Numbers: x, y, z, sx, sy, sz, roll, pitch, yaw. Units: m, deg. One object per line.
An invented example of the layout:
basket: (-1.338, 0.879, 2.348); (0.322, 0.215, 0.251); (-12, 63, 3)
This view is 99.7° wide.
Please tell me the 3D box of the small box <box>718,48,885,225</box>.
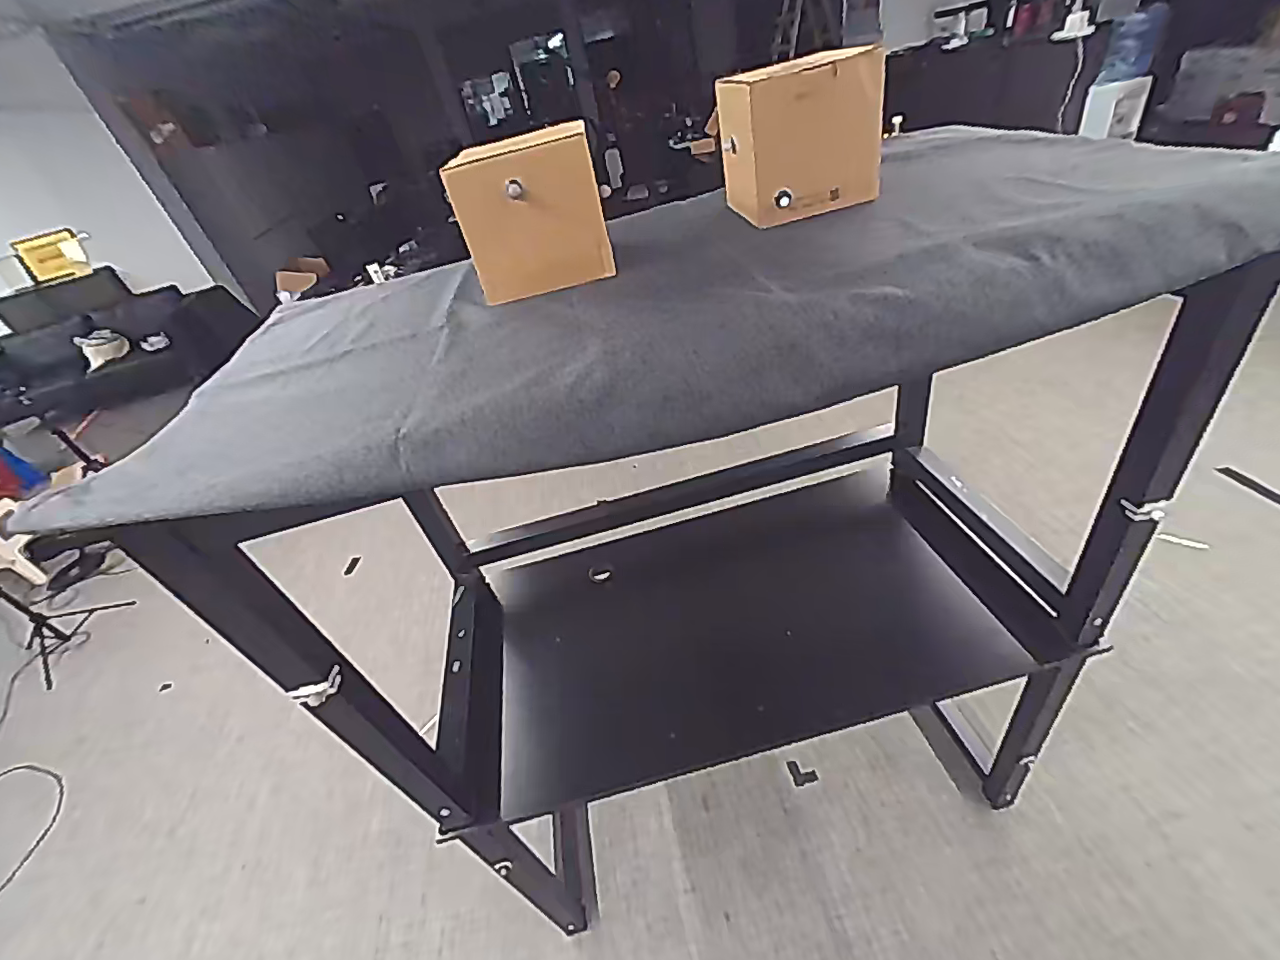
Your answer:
small box: (0.216, -0.468, 0.746); (0.168, 0.176, 0.179); (-14, 37, 1)

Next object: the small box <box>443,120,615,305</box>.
small box: (-0.134, -0.359, 0.728); (0.179, 0.176, 0.168); (-13, 38, 3)
